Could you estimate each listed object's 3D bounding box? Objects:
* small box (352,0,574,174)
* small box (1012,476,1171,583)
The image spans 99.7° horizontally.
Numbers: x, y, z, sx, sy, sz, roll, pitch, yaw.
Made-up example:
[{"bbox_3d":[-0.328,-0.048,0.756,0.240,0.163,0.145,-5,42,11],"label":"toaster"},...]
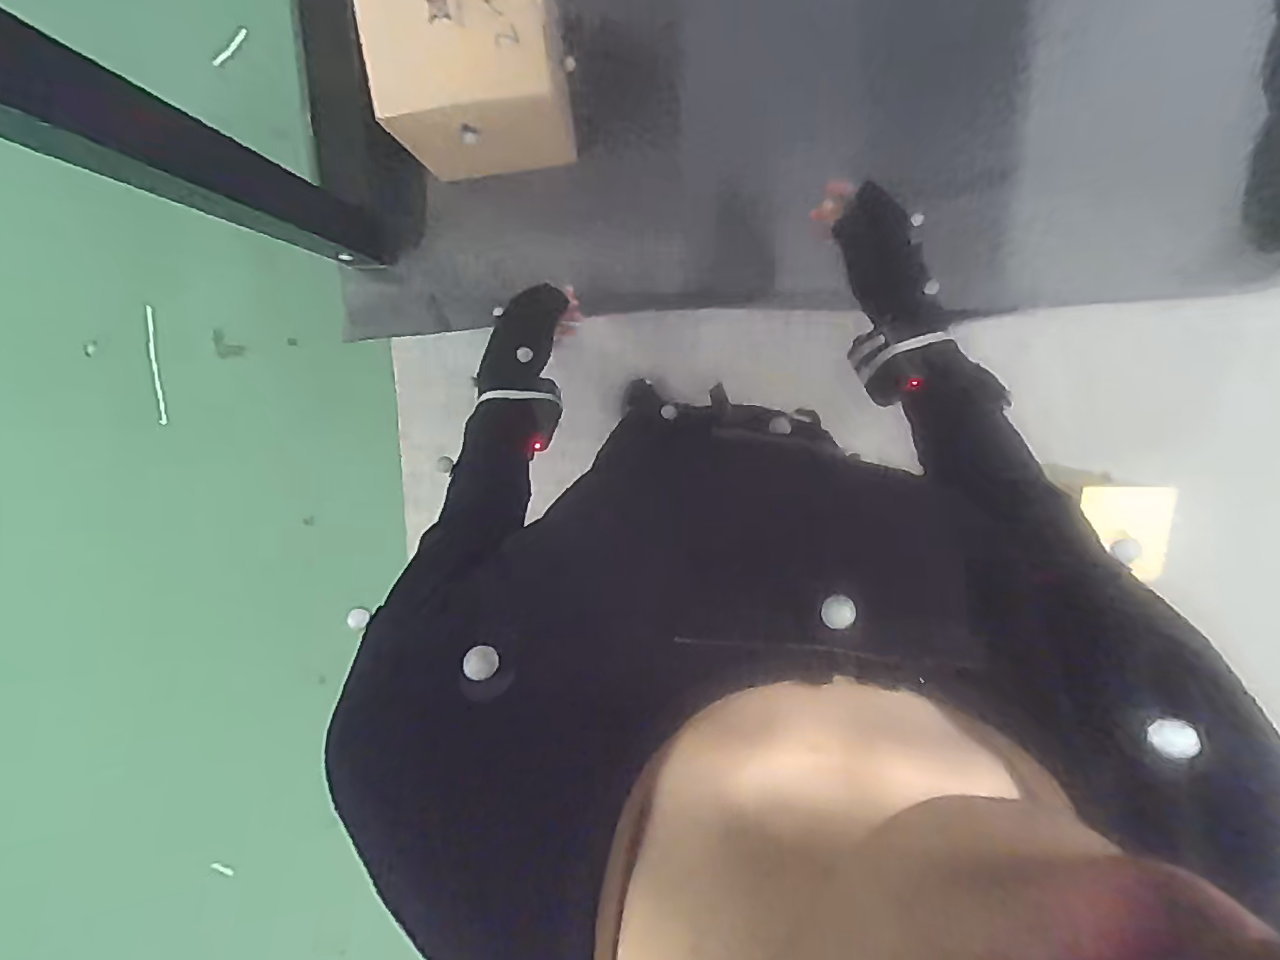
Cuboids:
[{"bbox_3d":[-0.177,-0.449,0.577,0.179,0.176,0.168,-6,101,3],"label":"small box"},{"bbox_3d":[0.862,0.088,1.051,0.168,0.176,0.179,0,100,3],"label":"small box"}]
